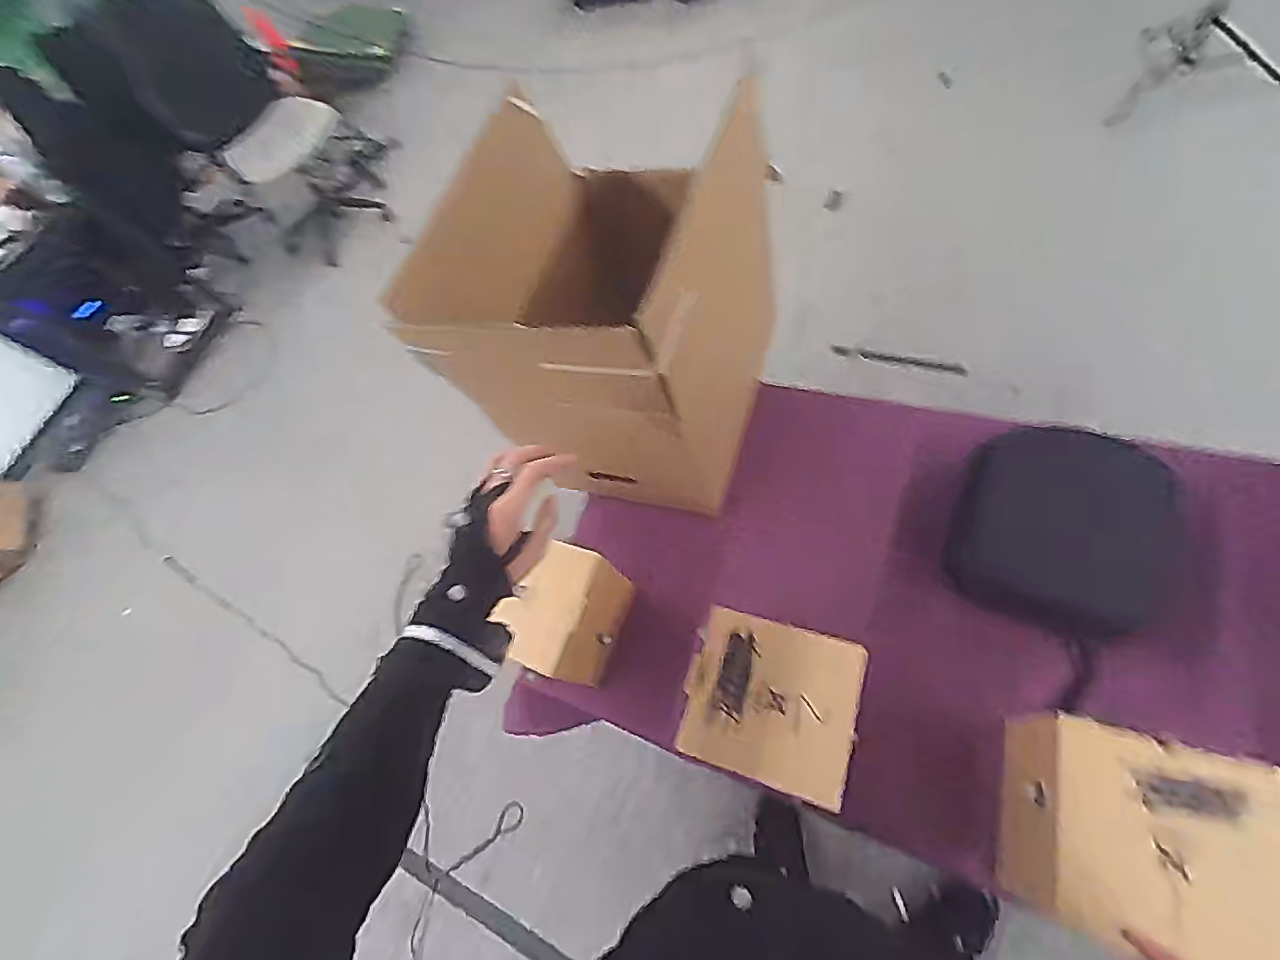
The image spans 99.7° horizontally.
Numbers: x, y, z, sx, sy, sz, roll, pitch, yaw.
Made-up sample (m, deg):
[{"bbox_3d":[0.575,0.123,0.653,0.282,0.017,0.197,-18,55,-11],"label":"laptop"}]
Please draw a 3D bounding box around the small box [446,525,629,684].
[{"bbox_3d":[-0.139,0.188,0.795,0.179,0.176,0.168,14,69,21],"label":"small box"}]

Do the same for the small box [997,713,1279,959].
[{"bbox_3d":[0.472,0.347,0.532,0.168,0.176,0.179,9,69,21],"label":"small box"}]
